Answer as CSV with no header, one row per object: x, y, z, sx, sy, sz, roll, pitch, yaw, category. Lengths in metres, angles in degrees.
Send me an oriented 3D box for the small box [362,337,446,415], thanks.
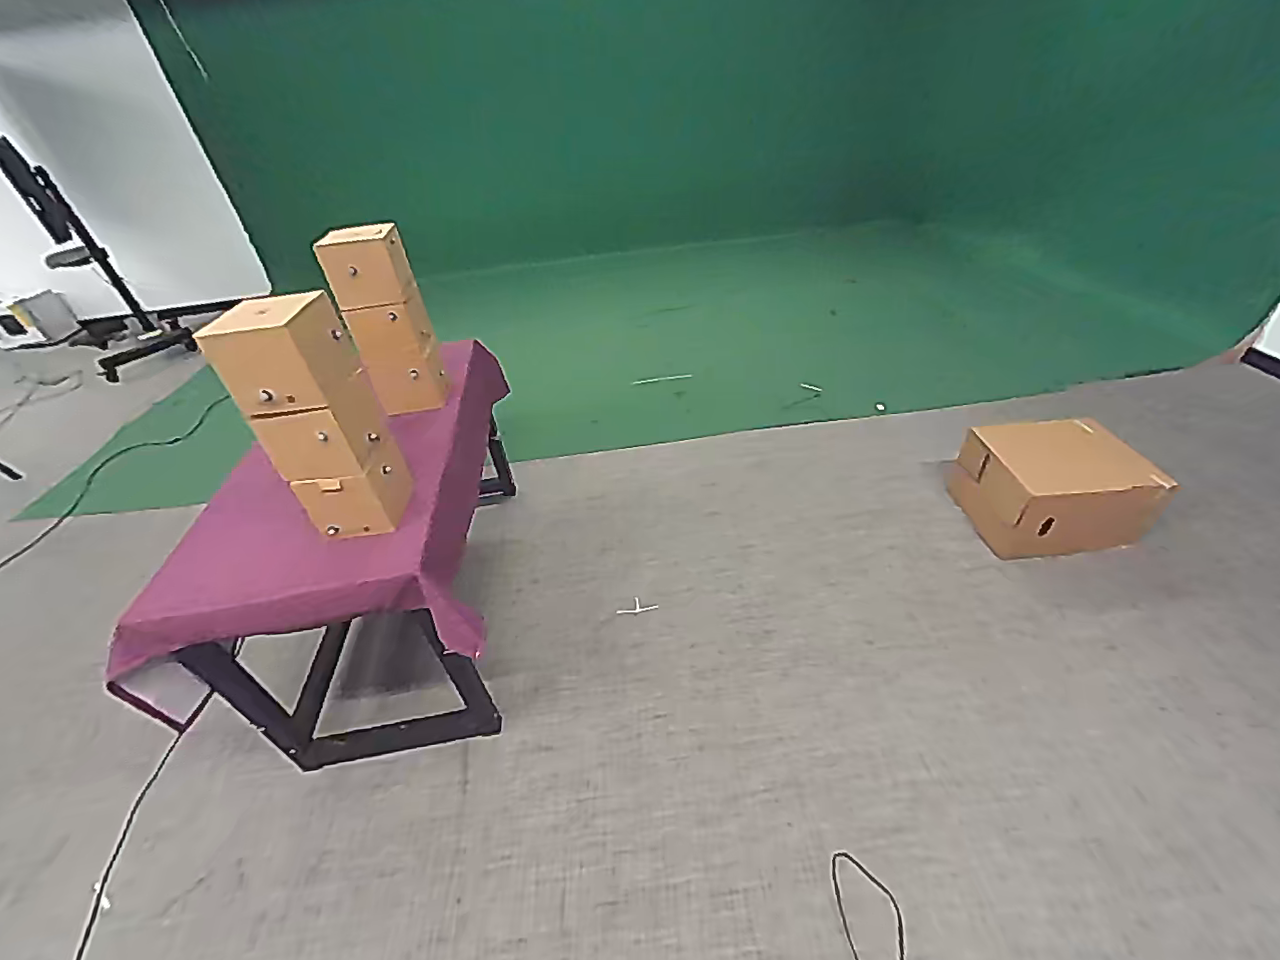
-0.717,-0.319,1.667,0.179,0.176,0.168,-9,38,-2,small box

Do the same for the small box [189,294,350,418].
-0.690,-0.238,1.037,0.168,0.176,0.179,-7,39,1,small box

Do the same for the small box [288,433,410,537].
-0.653,0.016,1.239,0.168,0.176,0.179,-7,38,0,small box

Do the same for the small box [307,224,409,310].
-0.754,-0.576,1.467,0.179,0.176,0.168,-11,39,-4,small box

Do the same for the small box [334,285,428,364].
-0.741,-0.448,1.569,0.179,0.176,0.168,-8,39,-2,small box
